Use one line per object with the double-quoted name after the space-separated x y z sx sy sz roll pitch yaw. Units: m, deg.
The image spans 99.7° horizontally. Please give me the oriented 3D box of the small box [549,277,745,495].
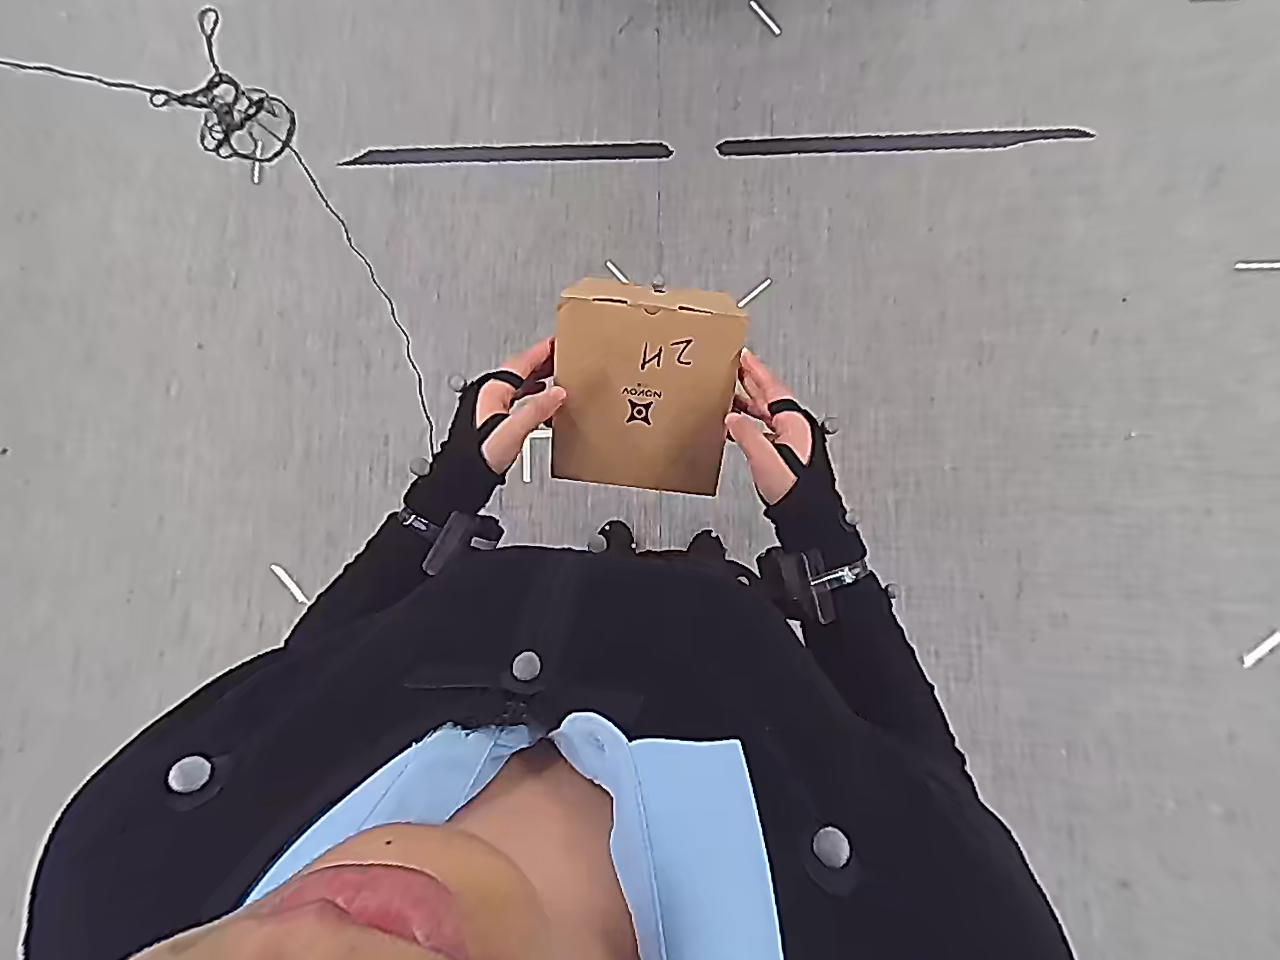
0.005 -0.106 0.565 0.168 0.176 0.179 7 114 0 "small box"
